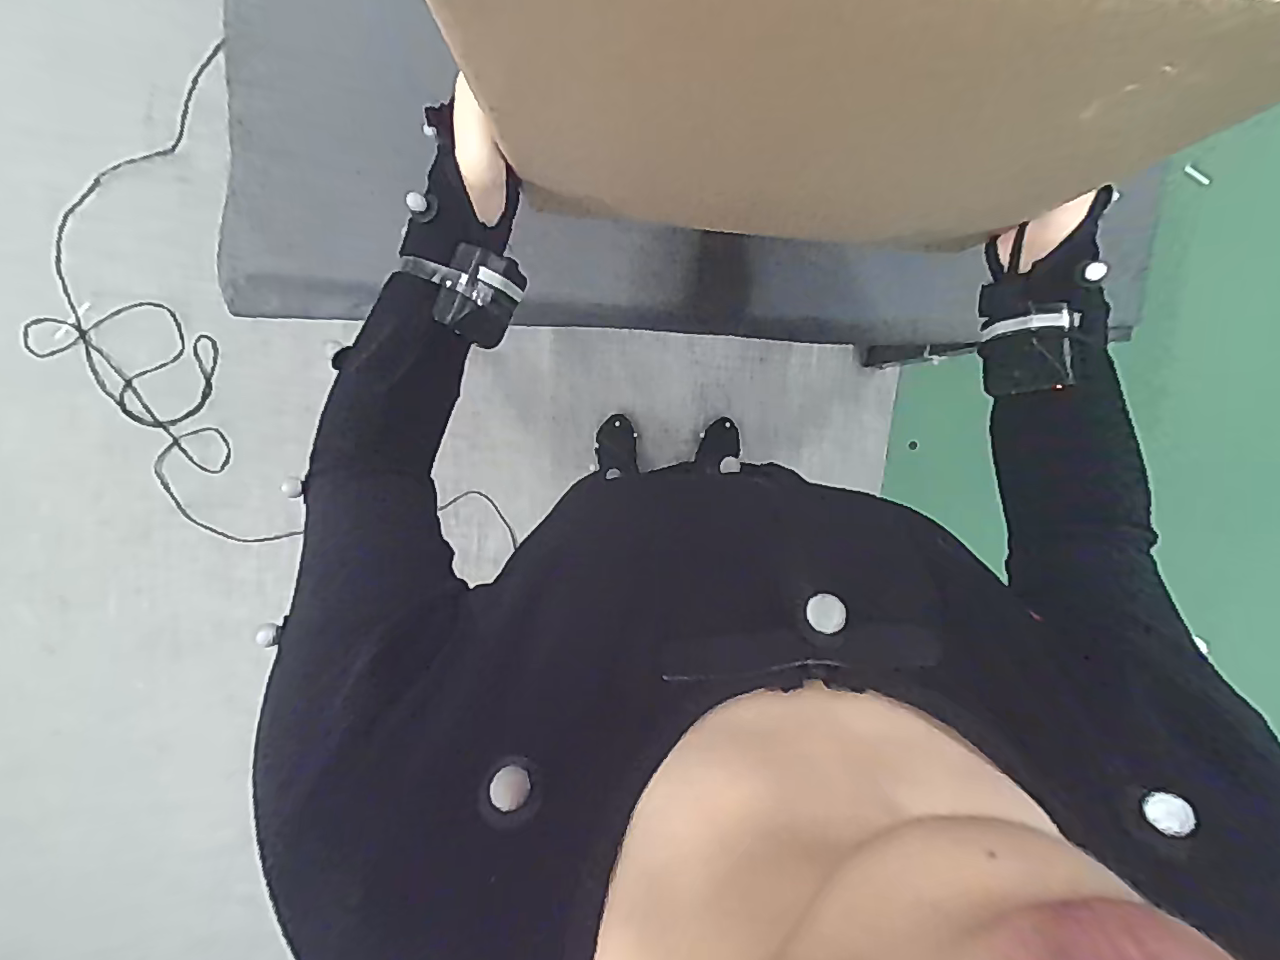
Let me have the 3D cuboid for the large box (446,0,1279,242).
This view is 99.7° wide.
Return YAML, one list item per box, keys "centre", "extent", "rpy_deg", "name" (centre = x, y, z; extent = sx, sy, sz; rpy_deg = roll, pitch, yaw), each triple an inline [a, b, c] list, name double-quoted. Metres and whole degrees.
- centre: [0.110, -0.368, 0.344]
  extent: [0.408, 0.320, 0.320]
  rpy_deg: [4, 98, -3]
  name: "large box"
